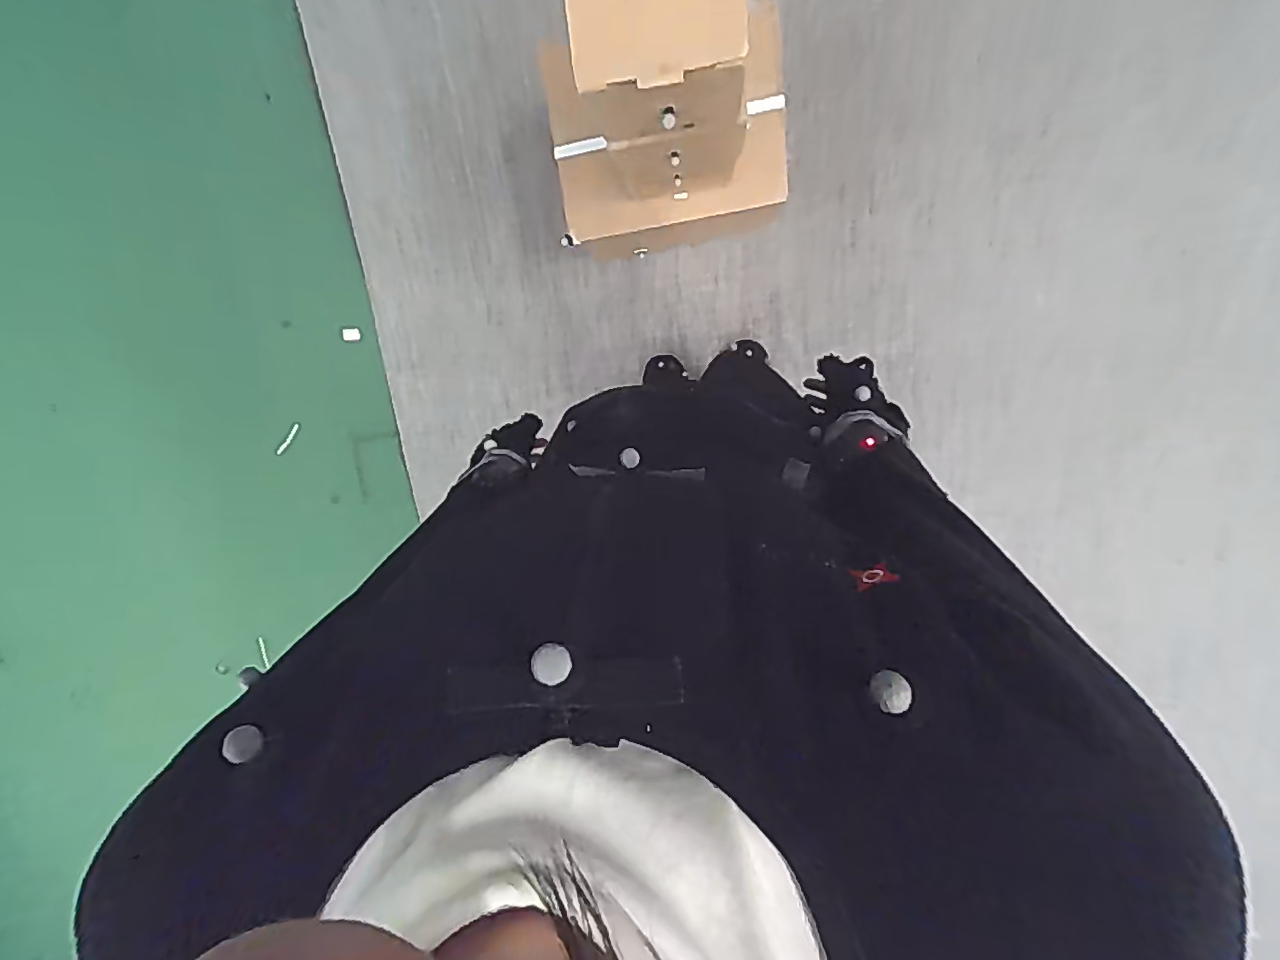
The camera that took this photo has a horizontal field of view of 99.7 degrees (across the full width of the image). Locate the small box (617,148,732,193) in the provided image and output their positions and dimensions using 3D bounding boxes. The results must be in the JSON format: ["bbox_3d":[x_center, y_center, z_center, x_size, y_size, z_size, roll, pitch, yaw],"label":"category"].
[{"bbox_3d":[0.053,-0.578,0.869,0.179,0.176,0.168,-5,107,8],"label":"small box"}]

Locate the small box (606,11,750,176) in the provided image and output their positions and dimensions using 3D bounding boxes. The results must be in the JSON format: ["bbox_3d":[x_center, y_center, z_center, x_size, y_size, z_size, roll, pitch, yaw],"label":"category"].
[{"bbox_3d":[0.040,-0.524,0.714,0.179,0.176,0.168,-9,106,9],"label":"small box"}]

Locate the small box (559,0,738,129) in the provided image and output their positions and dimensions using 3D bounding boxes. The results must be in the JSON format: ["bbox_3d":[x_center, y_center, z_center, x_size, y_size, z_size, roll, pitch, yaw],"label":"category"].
[{"bbox_3d":[0.017,-0.485,0.557,0.168,0.176,0.179,-2,108,9],"label":"small box"}]
